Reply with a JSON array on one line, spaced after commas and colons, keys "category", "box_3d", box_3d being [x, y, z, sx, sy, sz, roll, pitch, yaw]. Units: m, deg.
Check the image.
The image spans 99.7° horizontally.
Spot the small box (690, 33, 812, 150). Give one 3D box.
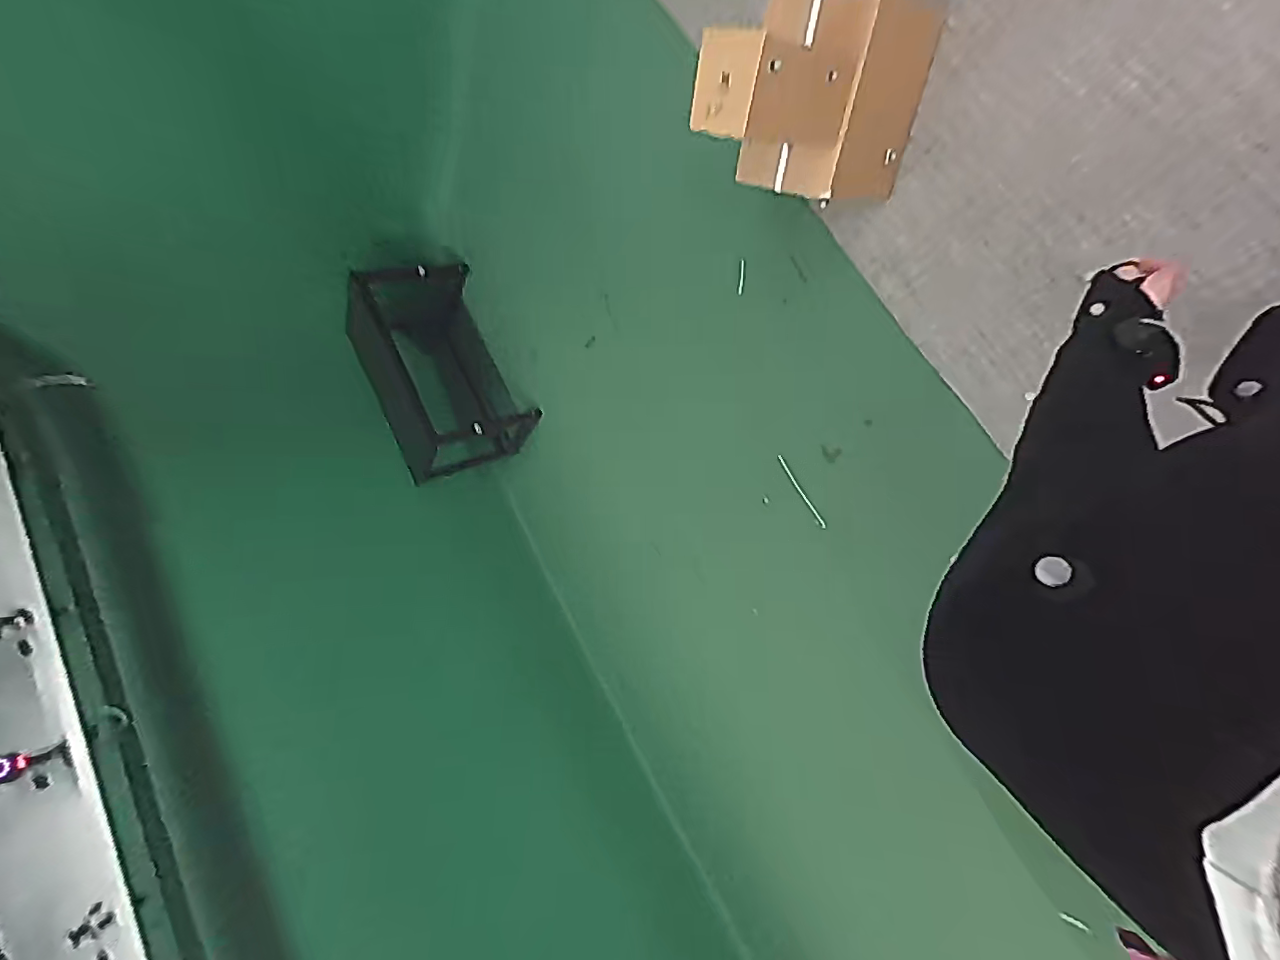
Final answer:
[{"category": "small box", "box_3d": [0.235, -0.817, 1.144, 0.168, 0.176, 0.179, 39, 135, 36]}]

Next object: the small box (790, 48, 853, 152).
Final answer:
[{"category": "small box", "box_3d": [0.359, -0.867, 1.239, 0.168, 0.176, 0.179, 37, 134, 36]}]
